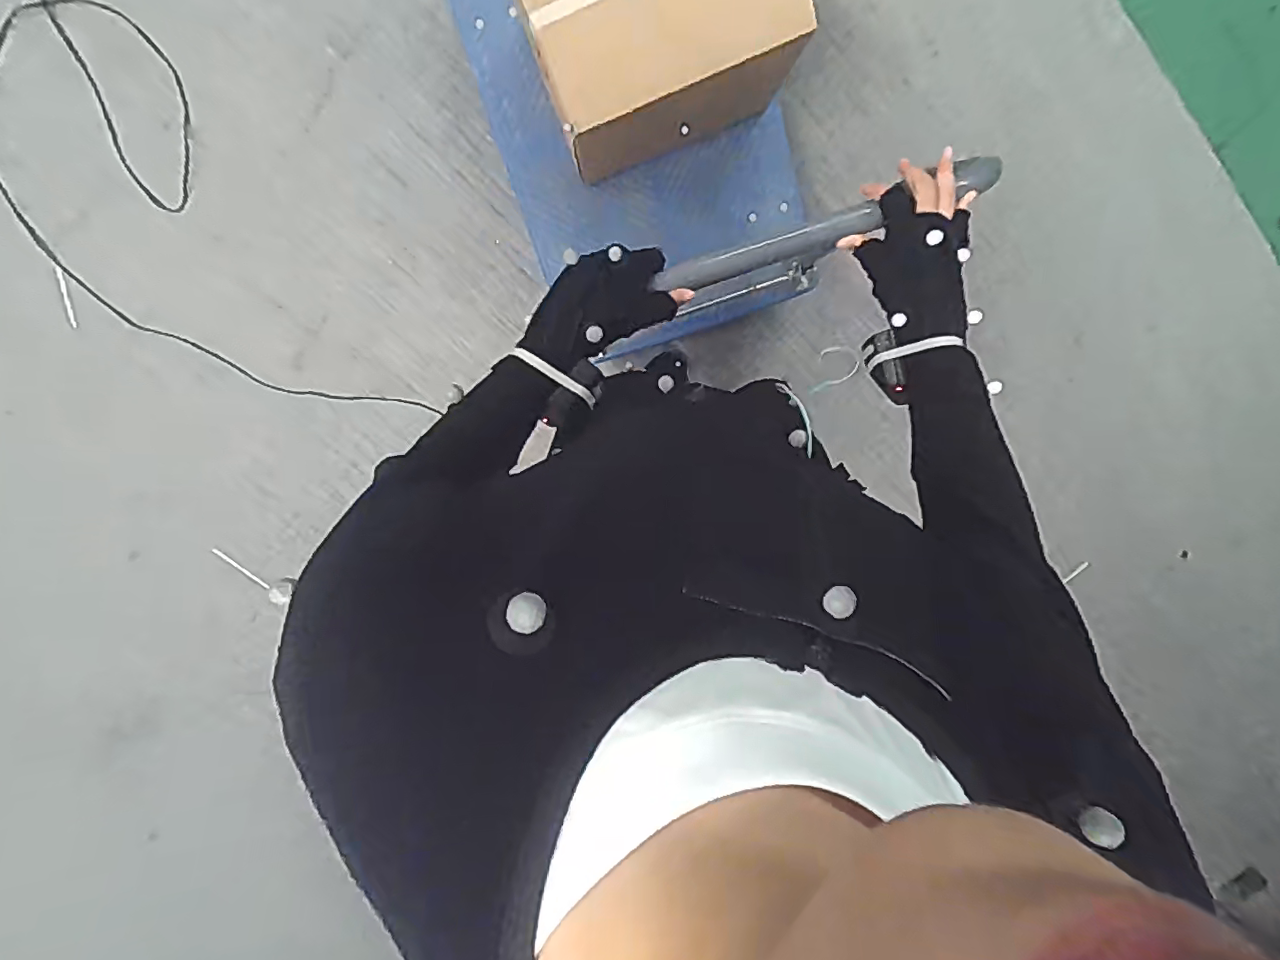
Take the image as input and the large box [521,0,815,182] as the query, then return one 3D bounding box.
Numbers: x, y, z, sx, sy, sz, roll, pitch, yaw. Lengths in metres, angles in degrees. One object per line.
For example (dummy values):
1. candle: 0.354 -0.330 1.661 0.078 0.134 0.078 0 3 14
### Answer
1. large box: 0.029 -0.797 0.951 0.408 0.320 0.320 -22 104 5
